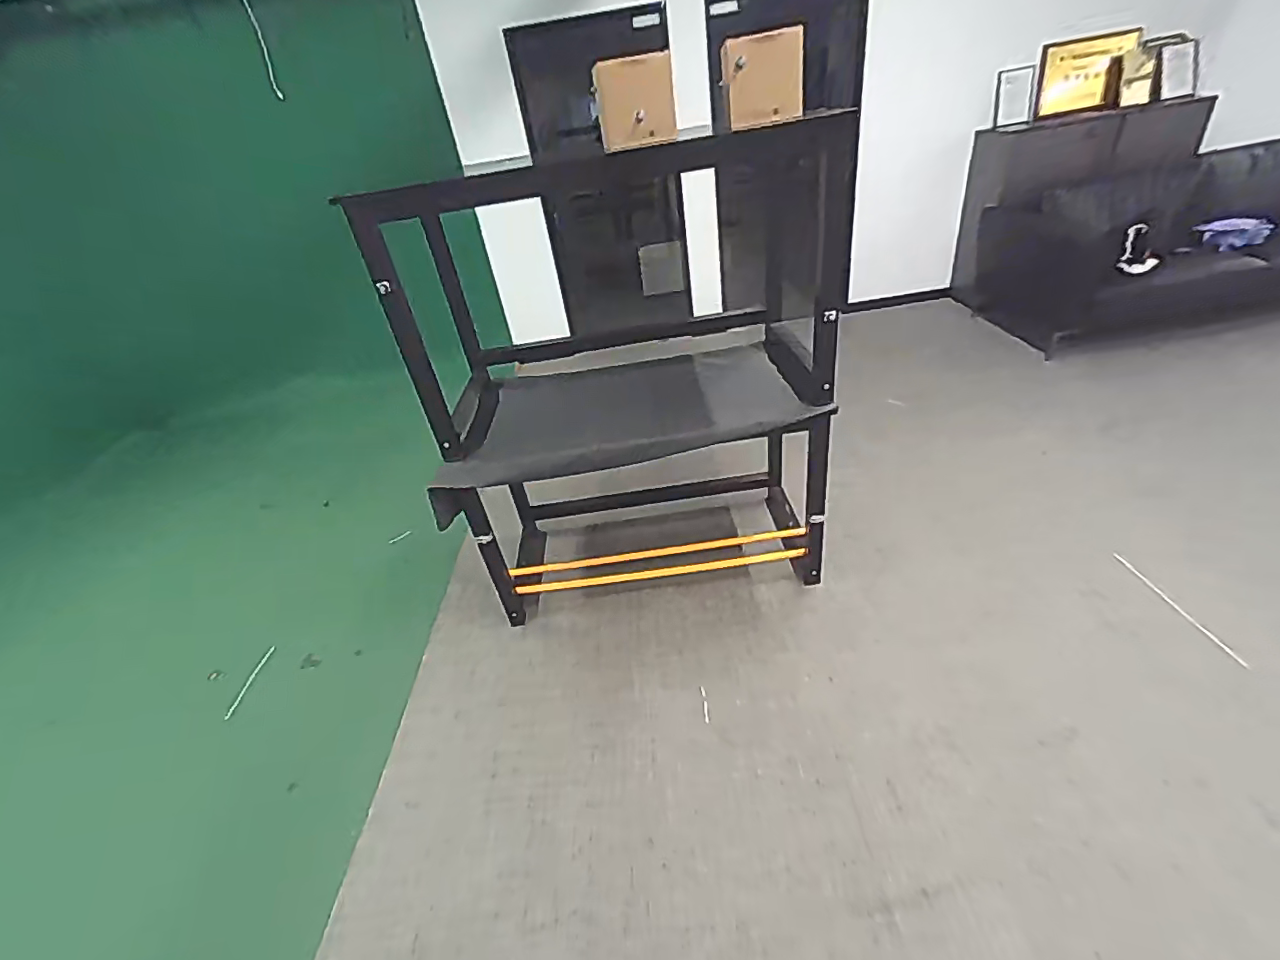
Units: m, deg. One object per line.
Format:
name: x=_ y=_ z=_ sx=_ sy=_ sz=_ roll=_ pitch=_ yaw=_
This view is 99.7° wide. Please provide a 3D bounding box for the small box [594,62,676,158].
small box: x=-0.014 y=-0.897 z=1.321 sx=0.168 sy=0.176 sz=0.179 roll=-12 pitch=33 yaw=-2
